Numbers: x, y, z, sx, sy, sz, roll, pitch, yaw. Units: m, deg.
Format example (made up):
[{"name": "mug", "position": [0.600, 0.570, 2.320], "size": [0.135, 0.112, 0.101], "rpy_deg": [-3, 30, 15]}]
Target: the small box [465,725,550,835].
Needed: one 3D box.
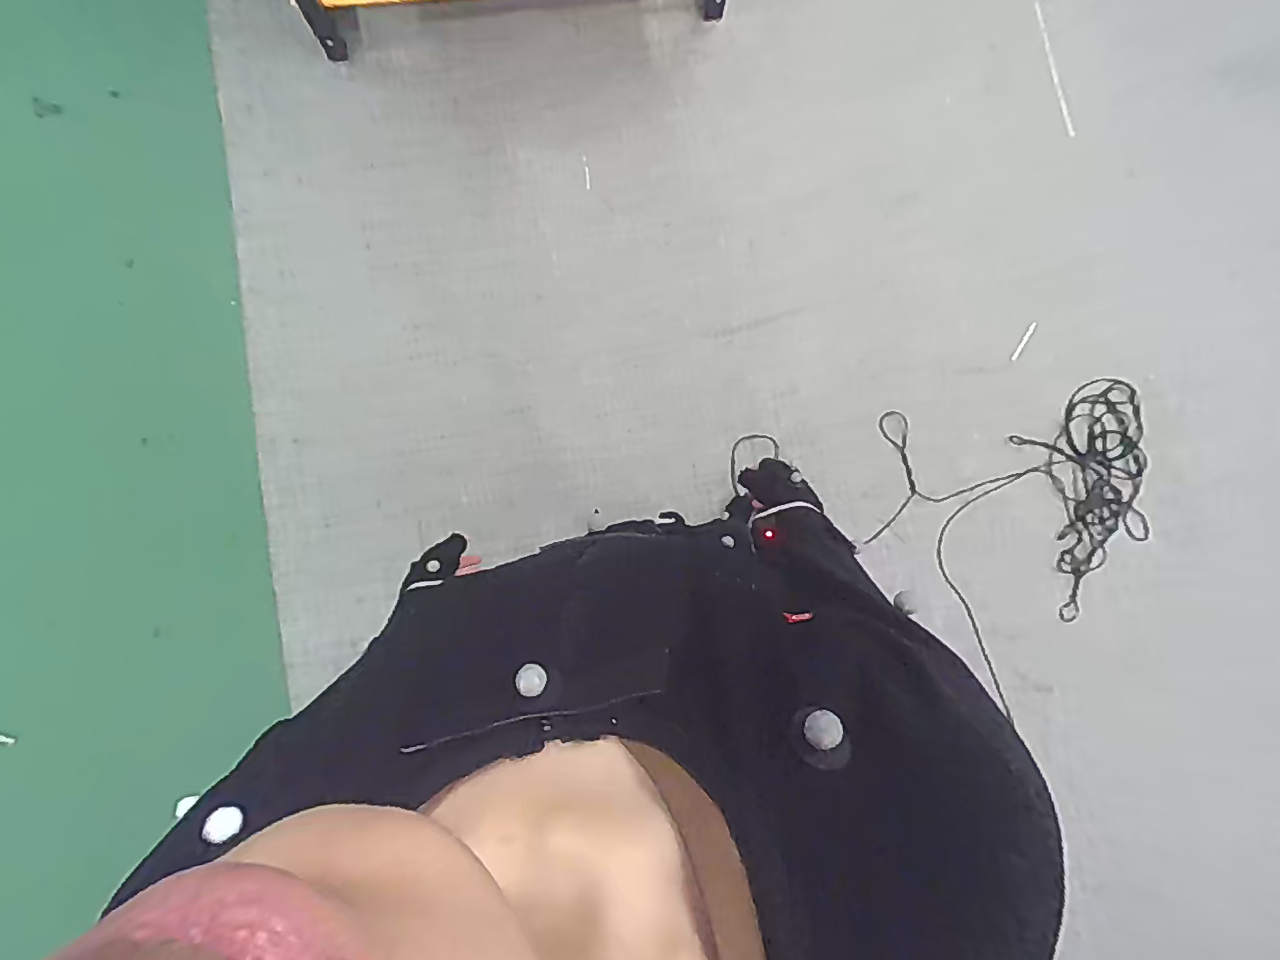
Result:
[{"name": "small box", "position": [-0.320, 0.722, 1.327], "size": [0.168, 0.176, 0.179], "rpy_deg": [-10, 86, -5]}]
